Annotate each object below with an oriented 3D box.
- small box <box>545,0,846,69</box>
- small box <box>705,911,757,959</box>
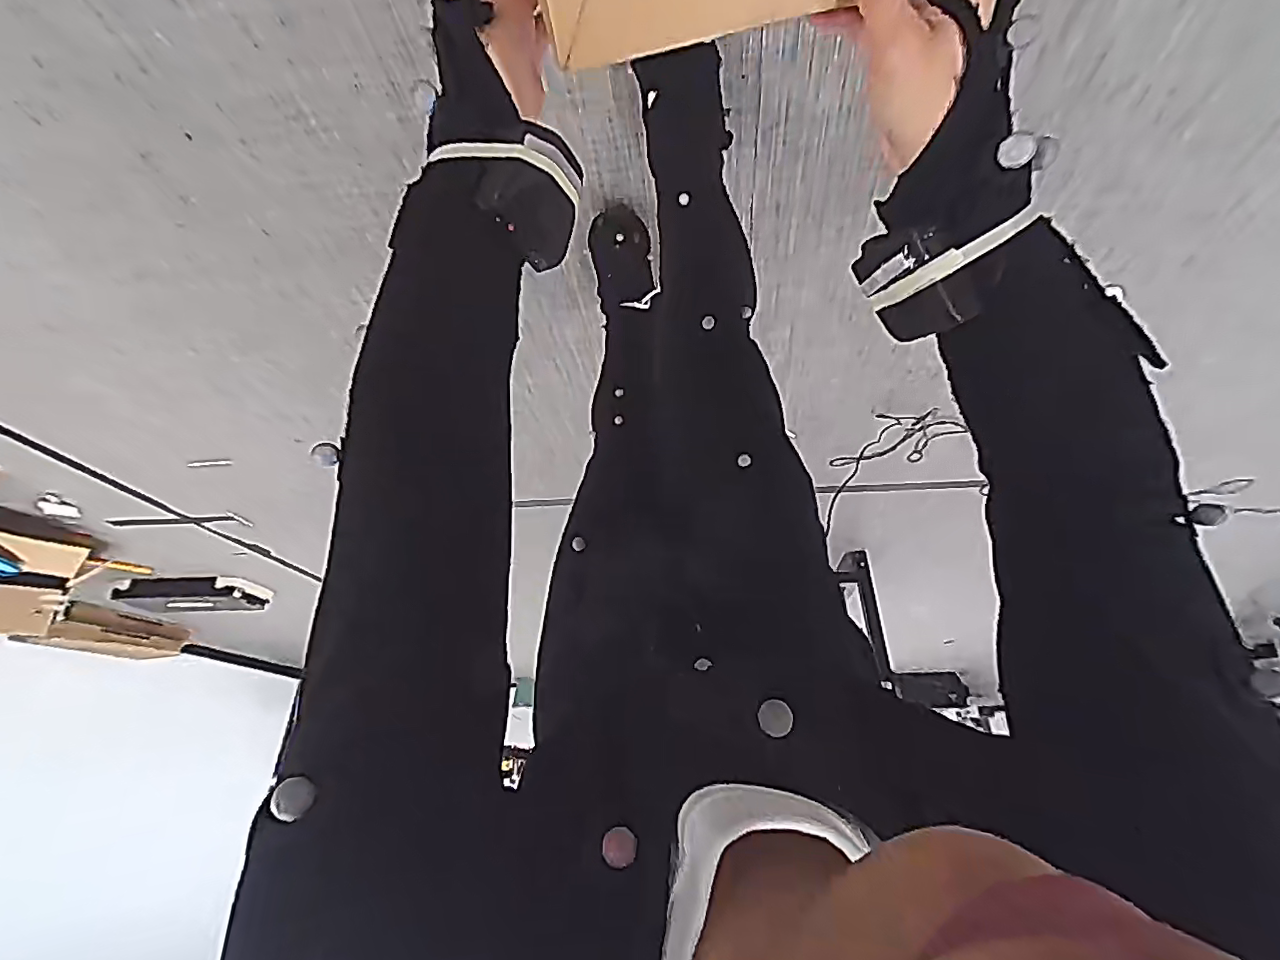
[{"bbox_3d":[0.014,-0.333,0.236,0.168,0.176,0.179,-14,152,-1],"label":"small box"},{"bbox_3d":[0.345,1.775,2.071,0.179,0.176,0.168,-3,152,2],"label":"small box"}]
